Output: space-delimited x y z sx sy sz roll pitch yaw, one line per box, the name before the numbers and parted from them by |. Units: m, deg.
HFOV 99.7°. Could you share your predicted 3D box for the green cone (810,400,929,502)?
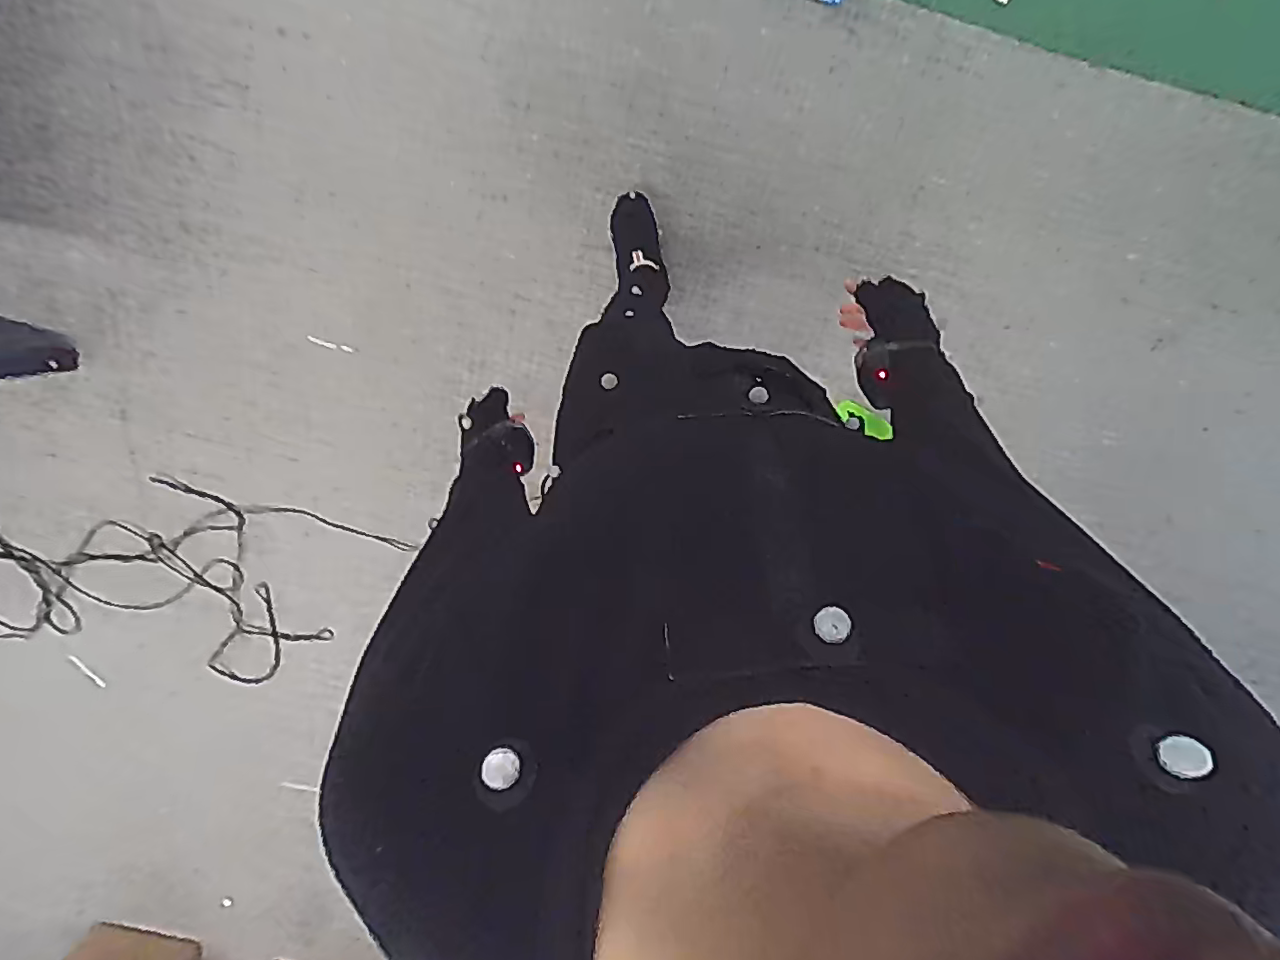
green cone | 0.567 -0.035 1.255 0.200 0.368 0.202 25 107 -6
